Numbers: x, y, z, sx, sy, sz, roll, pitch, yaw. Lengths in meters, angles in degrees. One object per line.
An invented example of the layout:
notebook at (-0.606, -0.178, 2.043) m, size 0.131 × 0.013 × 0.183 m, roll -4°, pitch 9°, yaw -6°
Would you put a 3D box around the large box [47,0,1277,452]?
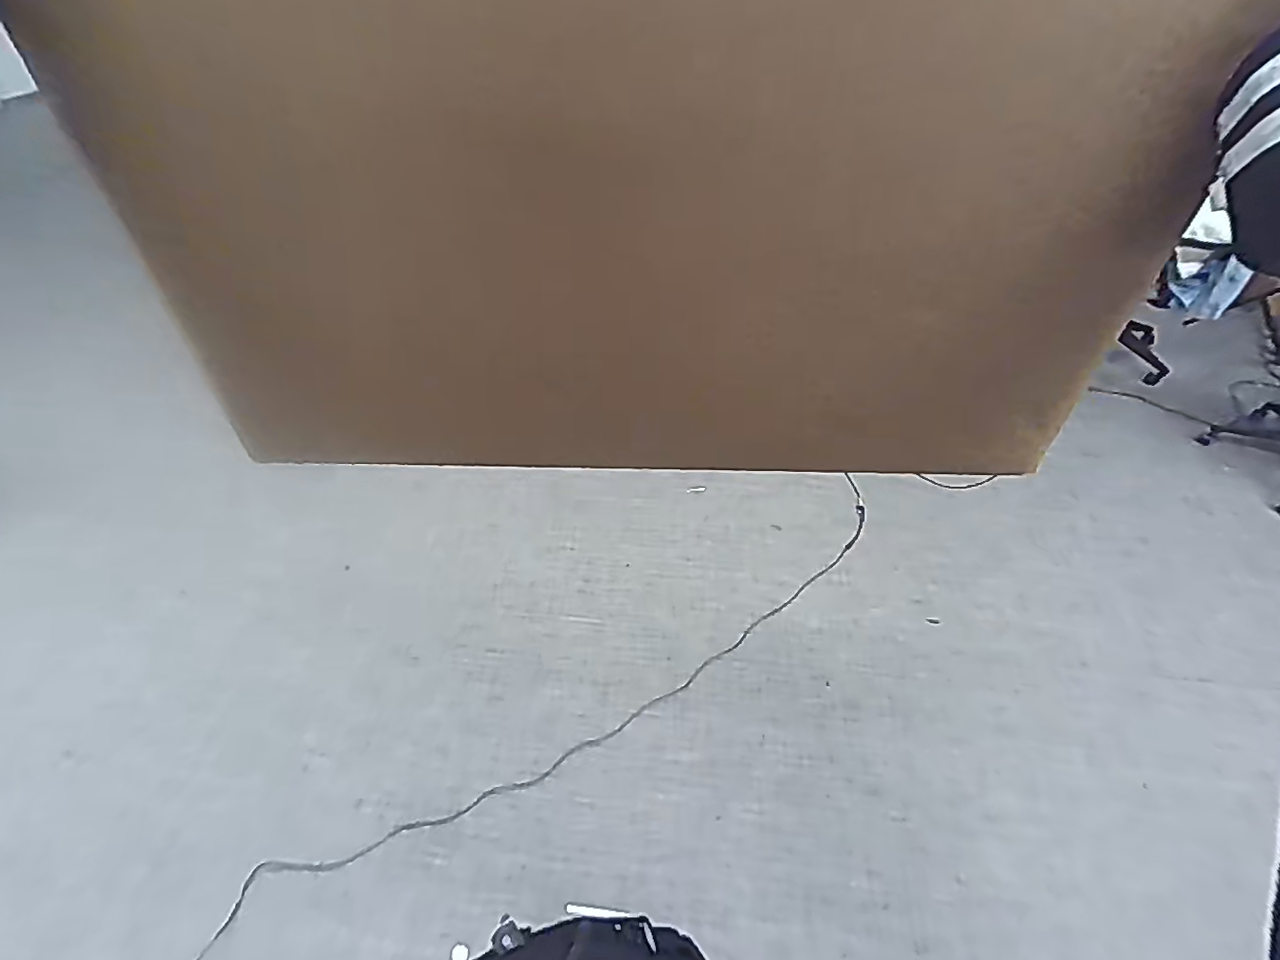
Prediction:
large box at (0.006, -0.226, 0.302) m, size 0.408 × 0.320 × 0.320 m, roll 2°, pitch 40°, yaw -1°
